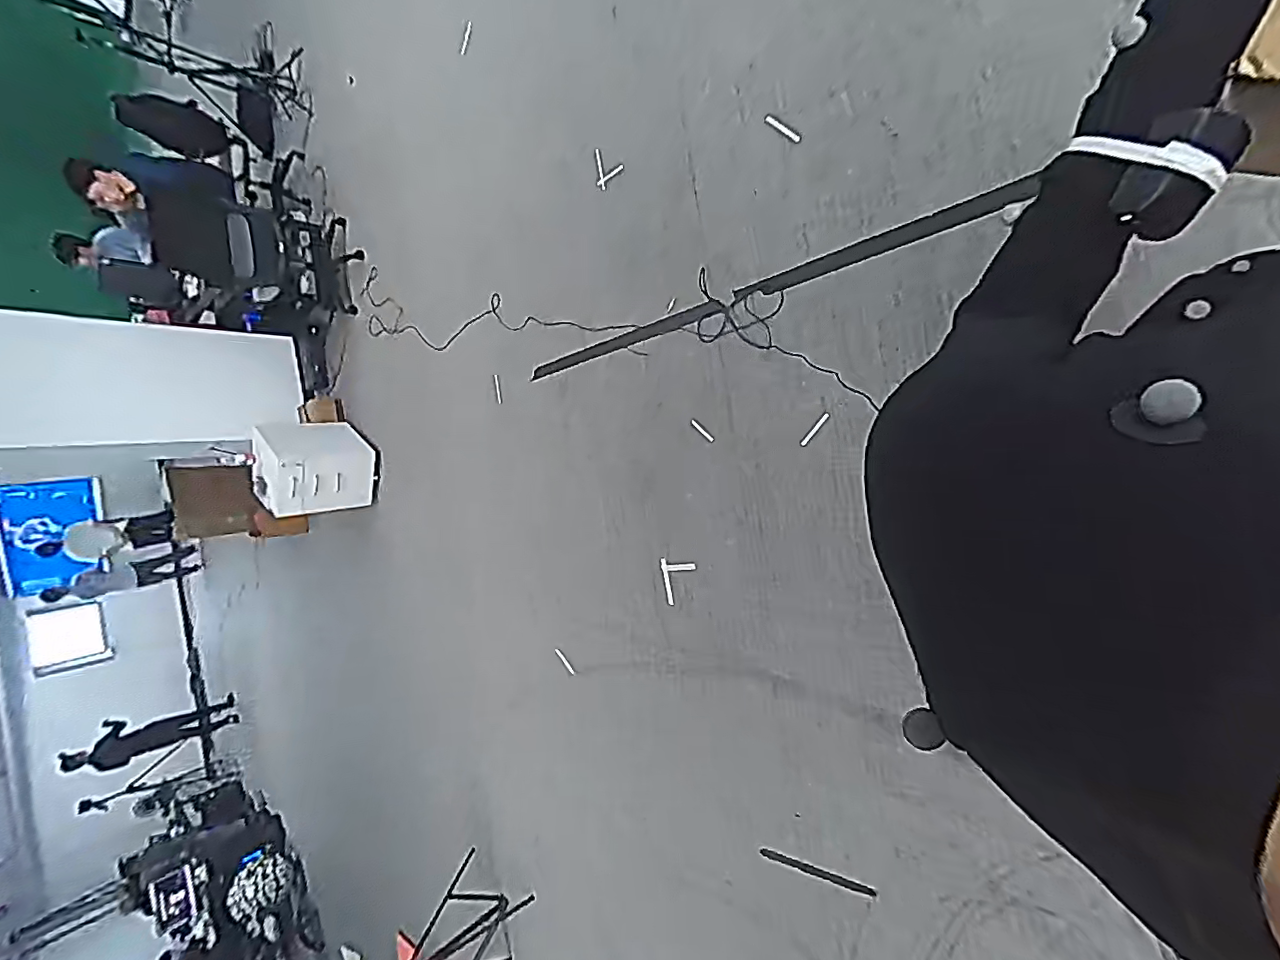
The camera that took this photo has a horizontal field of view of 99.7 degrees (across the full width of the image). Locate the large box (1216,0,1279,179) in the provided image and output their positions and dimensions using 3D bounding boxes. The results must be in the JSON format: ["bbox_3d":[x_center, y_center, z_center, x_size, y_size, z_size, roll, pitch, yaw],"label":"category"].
[{"bbox_3d":[0.630,-0.323,0.255,0.408,0.320,0.320,32,124,34],"label":"large box"}]
